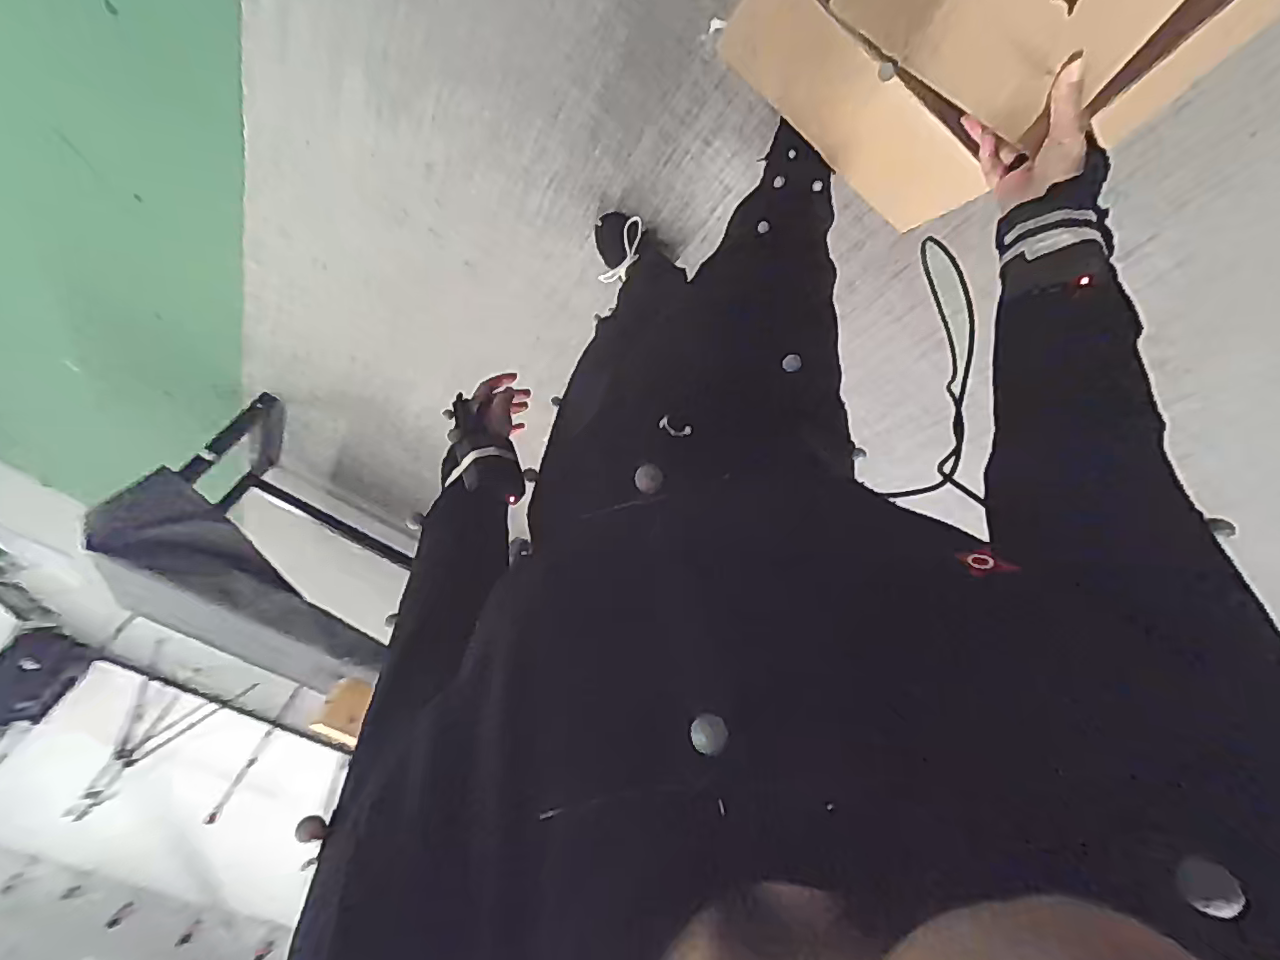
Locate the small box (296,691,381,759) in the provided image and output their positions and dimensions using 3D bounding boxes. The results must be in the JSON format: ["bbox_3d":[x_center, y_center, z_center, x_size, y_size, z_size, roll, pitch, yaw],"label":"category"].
[{"bbox_3d":[-1.042,0.845,1.877,0.179,0.176,0.168,38,136,-22],"label":"small box"}]

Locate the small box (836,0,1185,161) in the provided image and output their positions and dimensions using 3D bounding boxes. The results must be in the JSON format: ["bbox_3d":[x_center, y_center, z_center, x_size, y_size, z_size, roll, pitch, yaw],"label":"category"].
[{"bbox_3d":[0.285,-0.397,0.414,0.168,0.176,0.179,11,138,-24],"label":"small box"}]
